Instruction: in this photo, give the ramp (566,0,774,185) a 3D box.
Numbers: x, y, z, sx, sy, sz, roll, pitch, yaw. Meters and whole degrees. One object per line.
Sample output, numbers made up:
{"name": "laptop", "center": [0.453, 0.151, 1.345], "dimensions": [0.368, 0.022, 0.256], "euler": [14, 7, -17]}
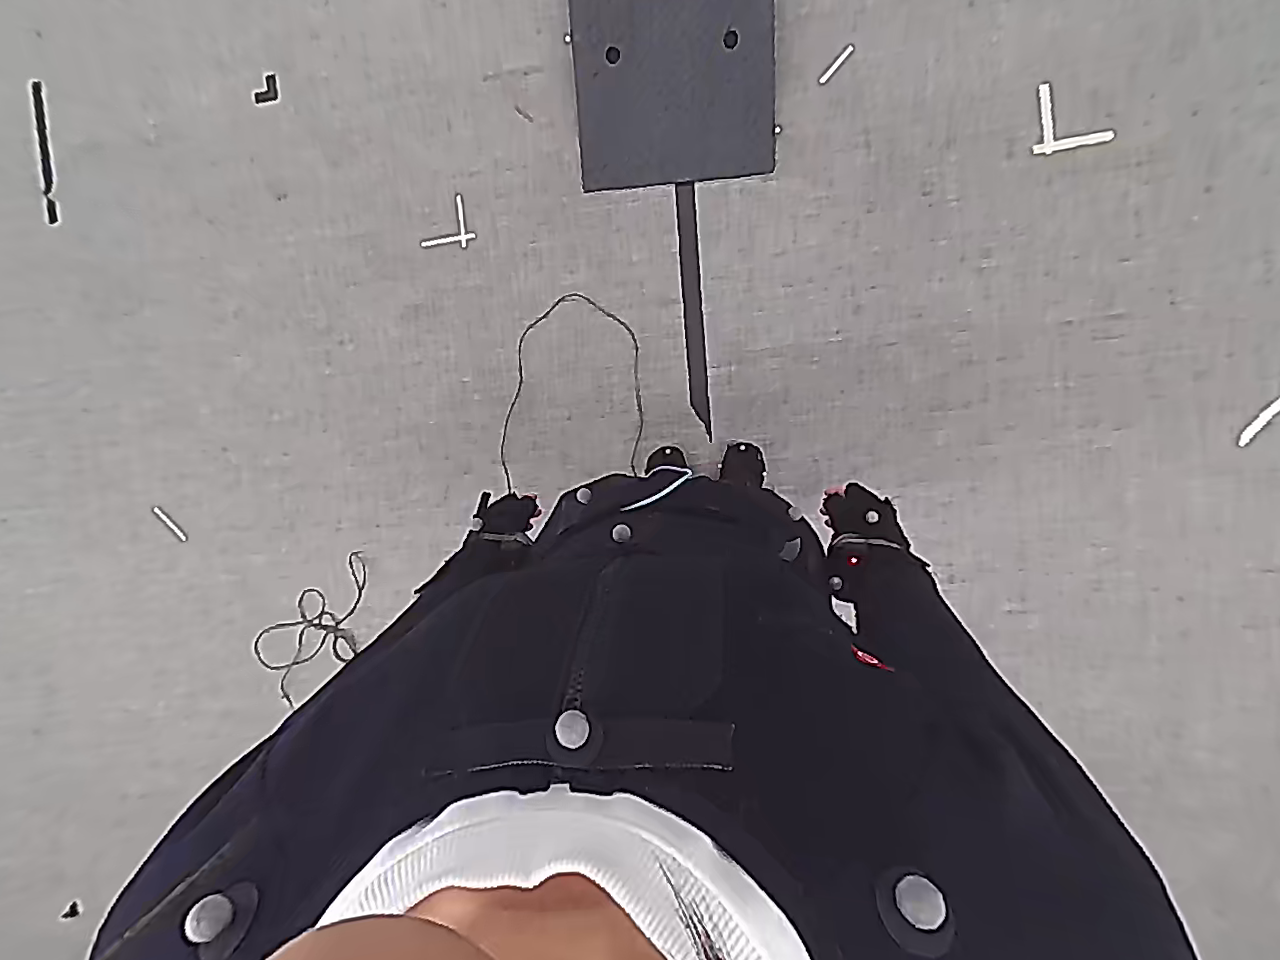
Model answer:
{"name": "ramp", "center": [0.060, -1.256, 1.253], "dimensions": [0.509, 0.206, 0.991], "euler": [-4, 95, 6]}
